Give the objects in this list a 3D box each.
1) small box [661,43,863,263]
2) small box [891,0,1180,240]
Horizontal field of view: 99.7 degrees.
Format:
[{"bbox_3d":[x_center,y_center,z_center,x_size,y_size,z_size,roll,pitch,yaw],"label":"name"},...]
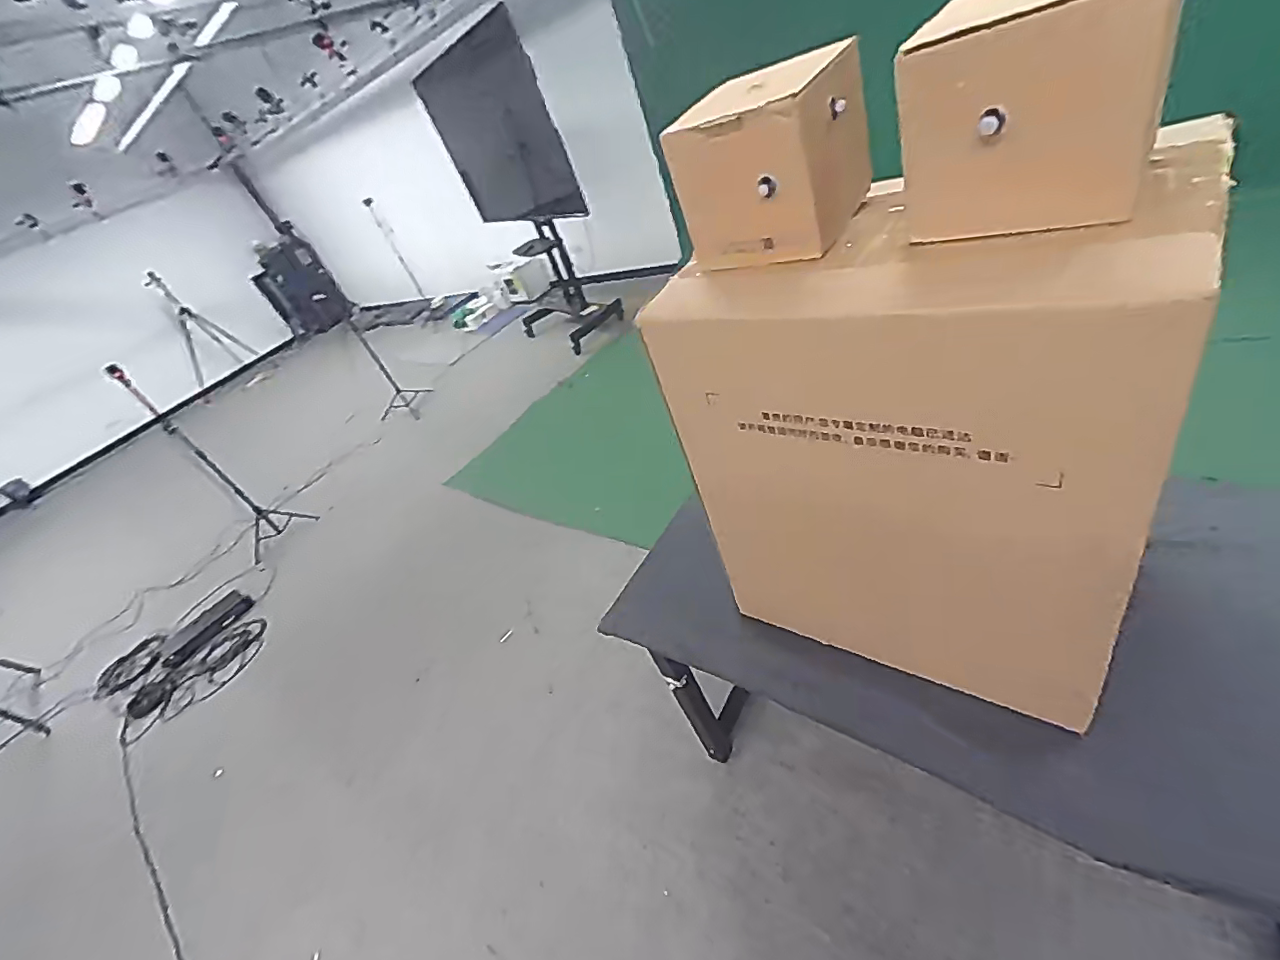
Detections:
[{"bbox_3d":[0.158,-0.376,0.652,0.168,0.176,0.179,13,52,38],"label":"small box"},{"bbox_3d":[0.352,-0.337,0.489,0.179,0.176,0.168,12,53,41],"label":"small box"}]
